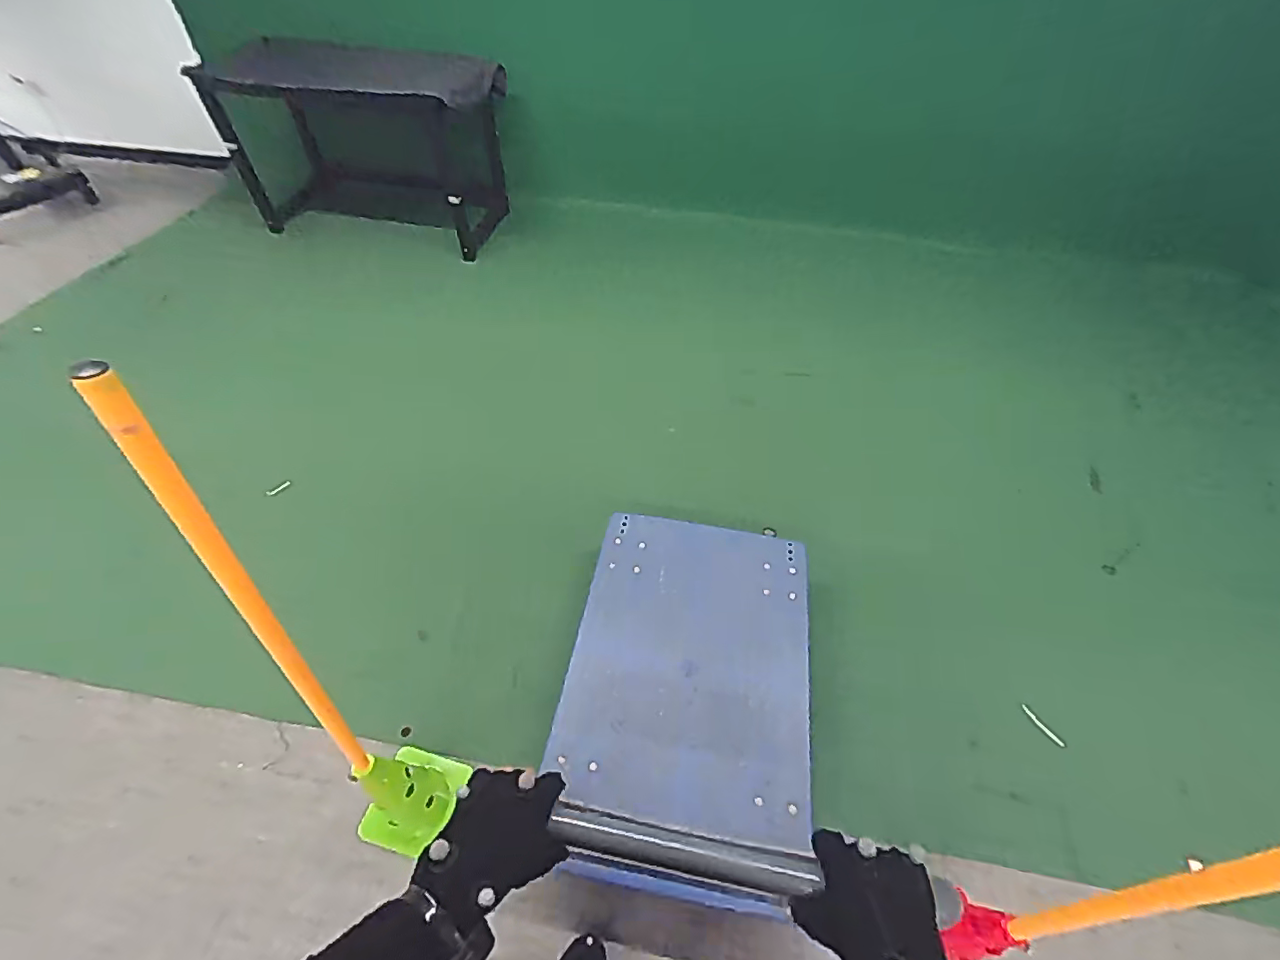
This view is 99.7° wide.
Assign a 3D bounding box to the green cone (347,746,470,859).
[{"bbox_3d":[-0.520,0.636,1.137,0.202,0.368,0.200,12,49,9],"label":"green cone"}]
